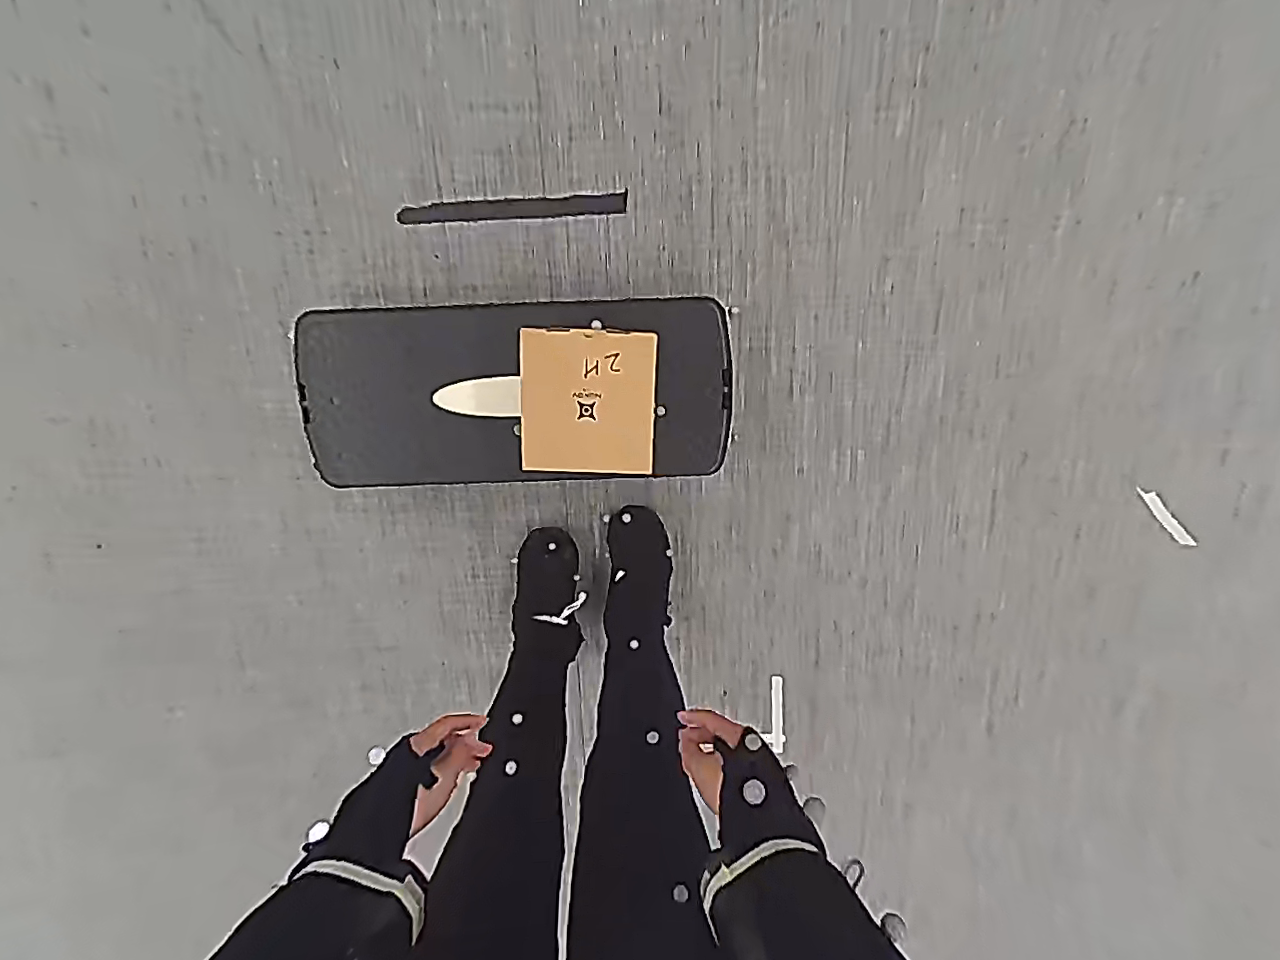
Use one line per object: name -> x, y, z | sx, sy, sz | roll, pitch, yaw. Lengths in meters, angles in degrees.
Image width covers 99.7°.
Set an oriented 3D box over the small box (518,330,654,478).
small box -> -0.068, -0.109, 0.739 | 0.168, 0.176, 0.179 | 2, 103, -1
